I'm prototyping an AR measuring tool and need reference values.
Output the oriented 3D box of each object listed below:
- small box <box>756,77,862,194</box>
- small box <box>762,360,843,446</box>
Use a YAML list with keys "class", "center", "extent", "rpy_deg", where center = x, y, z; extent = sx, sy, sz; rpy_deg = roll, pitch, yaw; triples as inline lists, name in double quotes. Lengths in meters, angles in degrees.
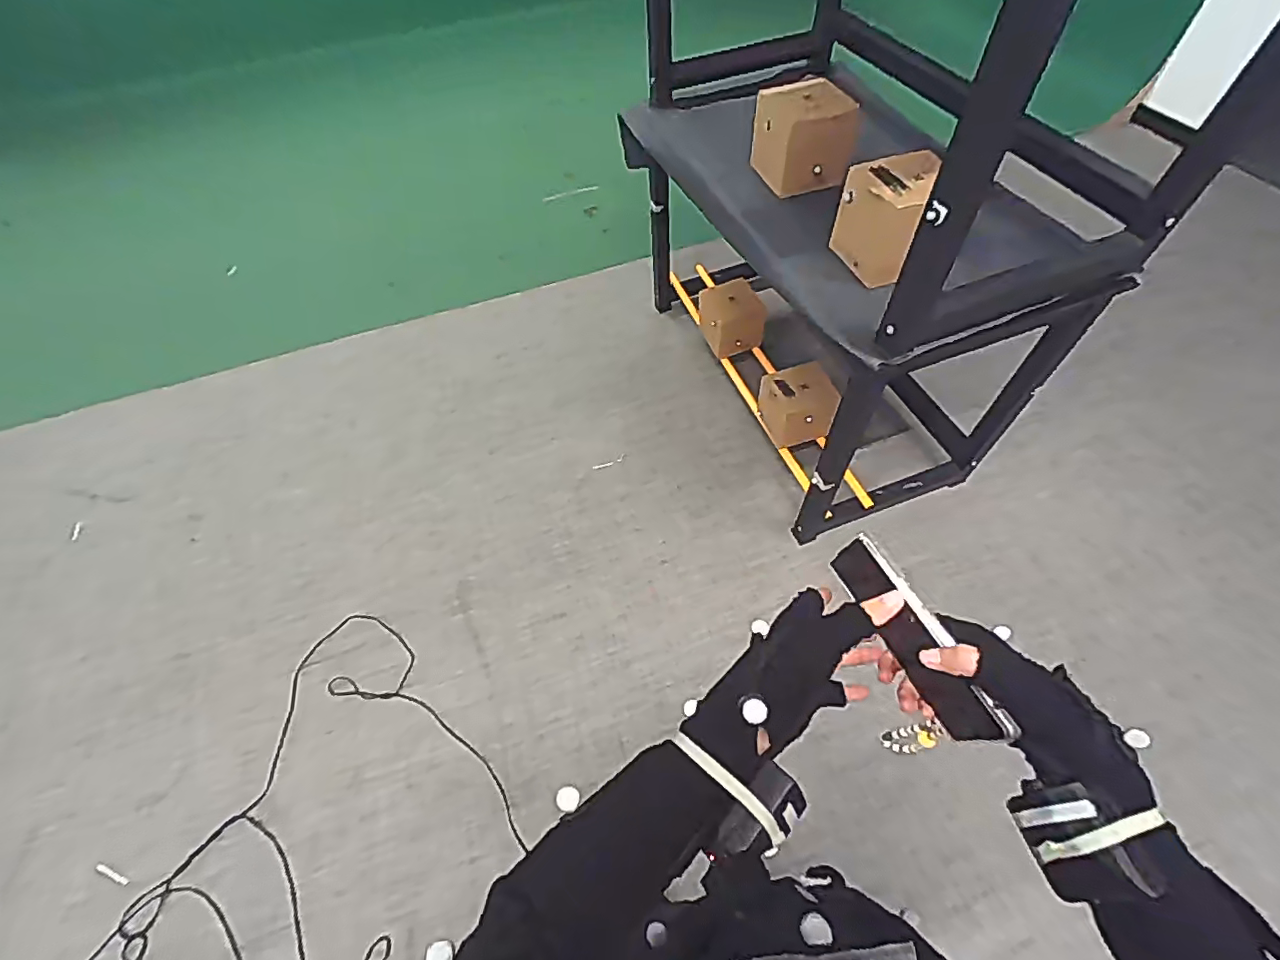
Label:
- class: "small box"
  center: [0.384, -0.805, 1.269]
  extent: [0.168, 0.176, 0.179]
  rpy_deg: [-16, 57, -6]
- class: "small box"
  center: [0.478, -0.225, 1.626]
  extent: [0.179, 0.176, 0.168]
  rpy_deg: [-16, 57, -6]
